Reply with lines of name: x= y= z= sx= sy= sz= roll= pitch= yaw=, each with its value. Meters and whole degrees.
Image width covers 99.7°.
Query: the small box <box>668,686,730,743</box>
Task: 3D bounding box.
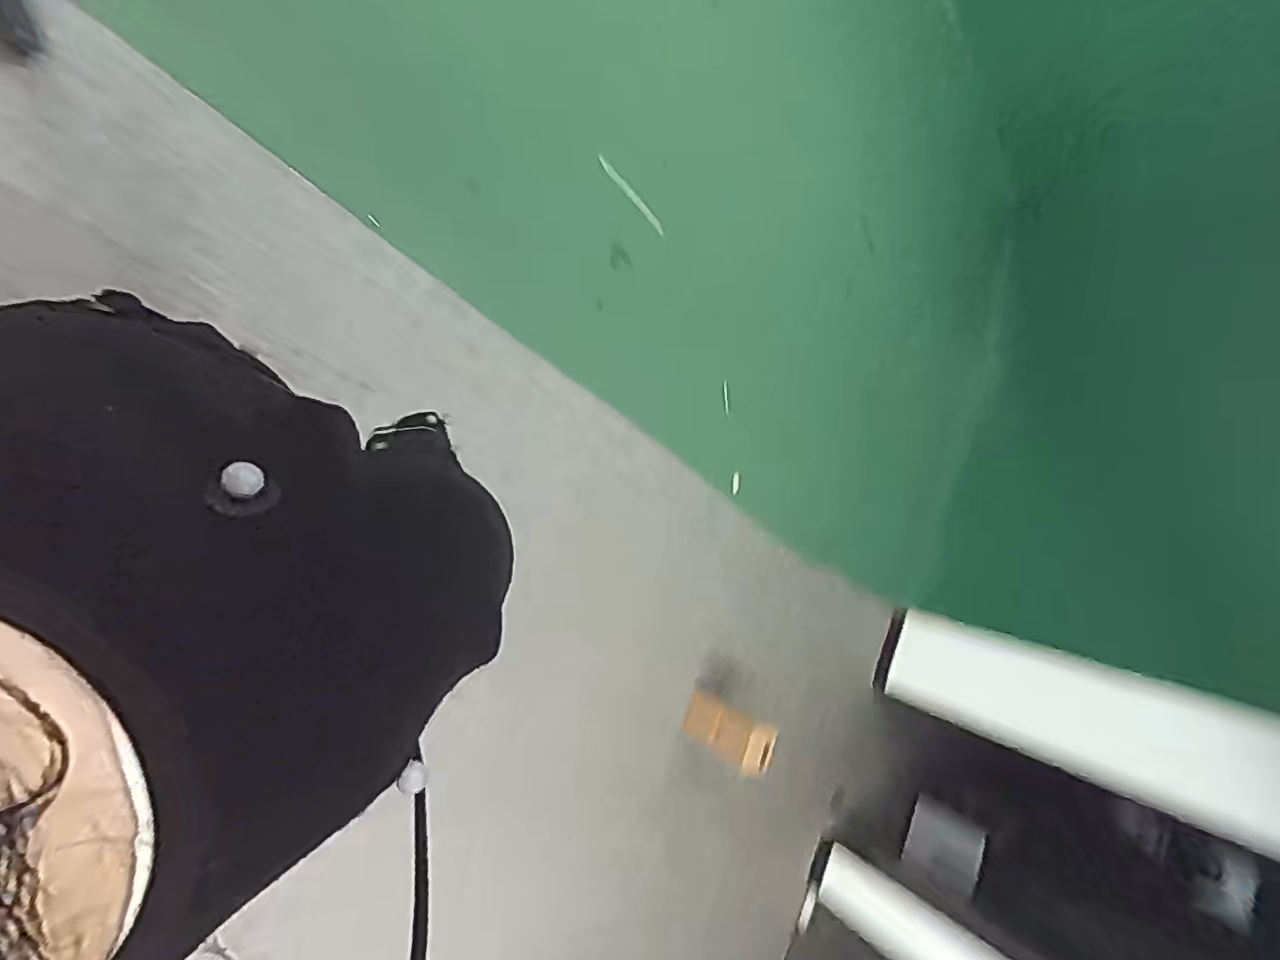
small box: x=0.247 y=0.992 z=2.292 sx=0.179 sy=0.176 sz=0.168 roll=26 pitch=80 yaw=-40
